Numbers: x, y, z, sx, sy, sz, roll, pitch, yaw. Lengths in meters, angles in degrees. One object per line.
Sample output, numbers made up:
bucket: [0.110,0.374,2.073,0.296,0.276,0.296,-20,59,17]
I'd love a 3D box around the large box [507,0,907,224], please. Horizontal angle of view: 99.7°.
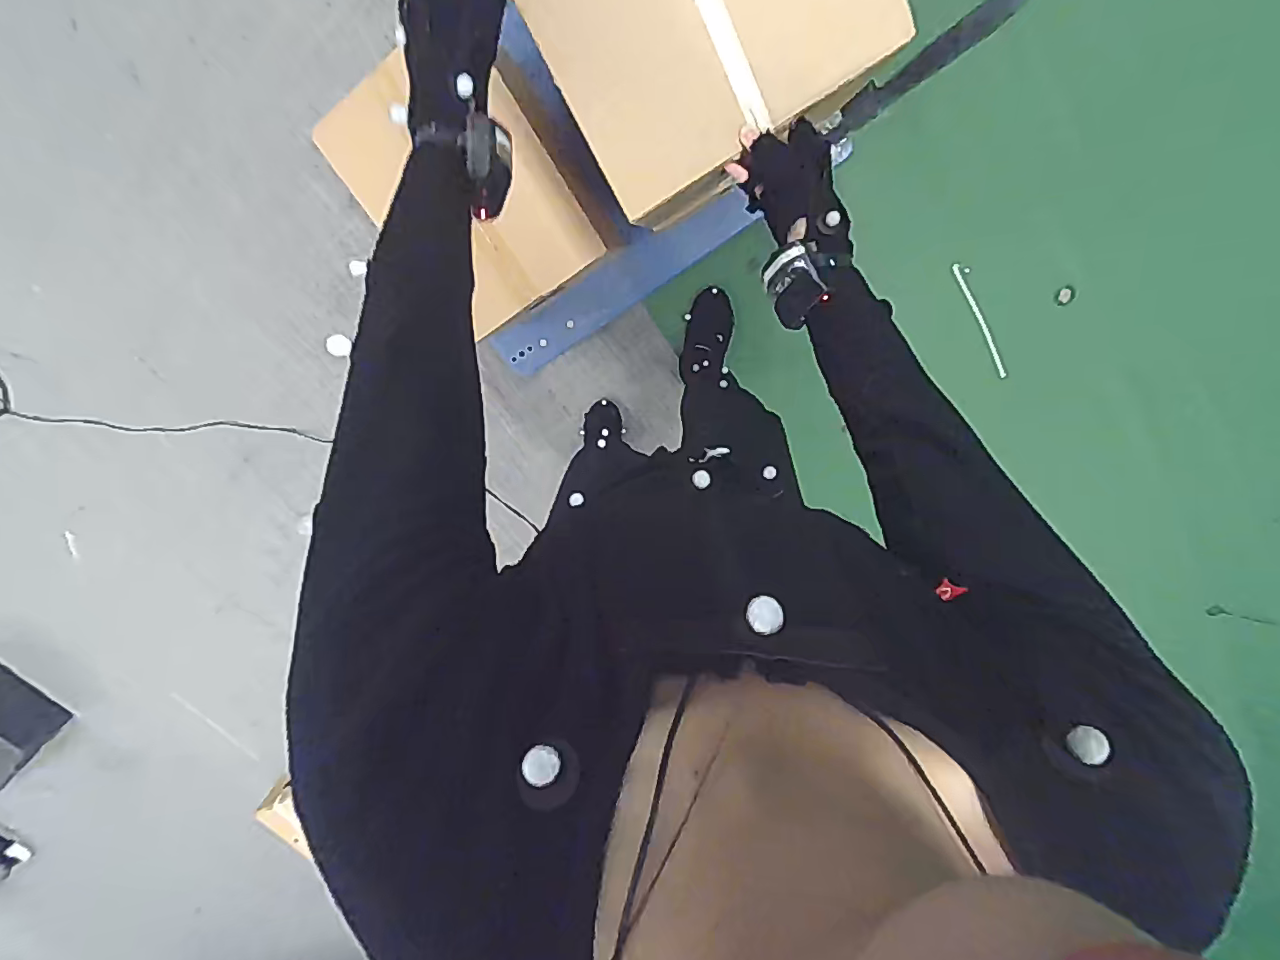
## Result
large box: [0.034,-0.564,0.613,0.320,0.320,0.408,-26,108,16]
